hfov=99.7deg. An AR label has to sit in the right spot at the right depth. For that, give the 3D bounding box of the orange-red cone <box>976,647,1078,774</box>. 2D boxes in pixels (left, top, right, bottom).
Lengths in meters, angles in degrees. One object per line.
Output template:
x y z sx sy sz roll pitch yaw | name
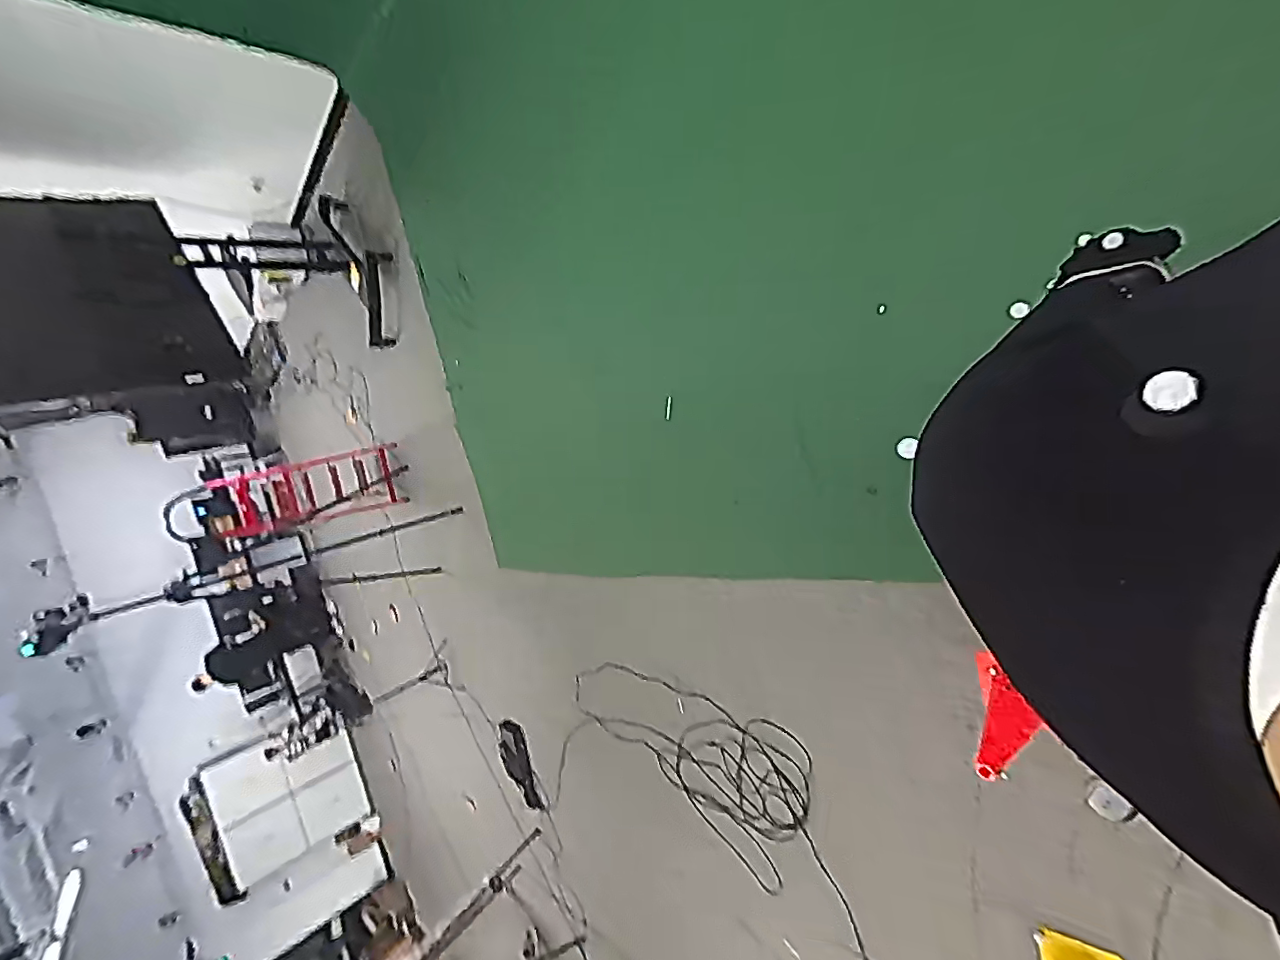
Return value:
0.876 0.577 1.285 0.198 0.360 0.199 -9 98 49 | orange-red cone
